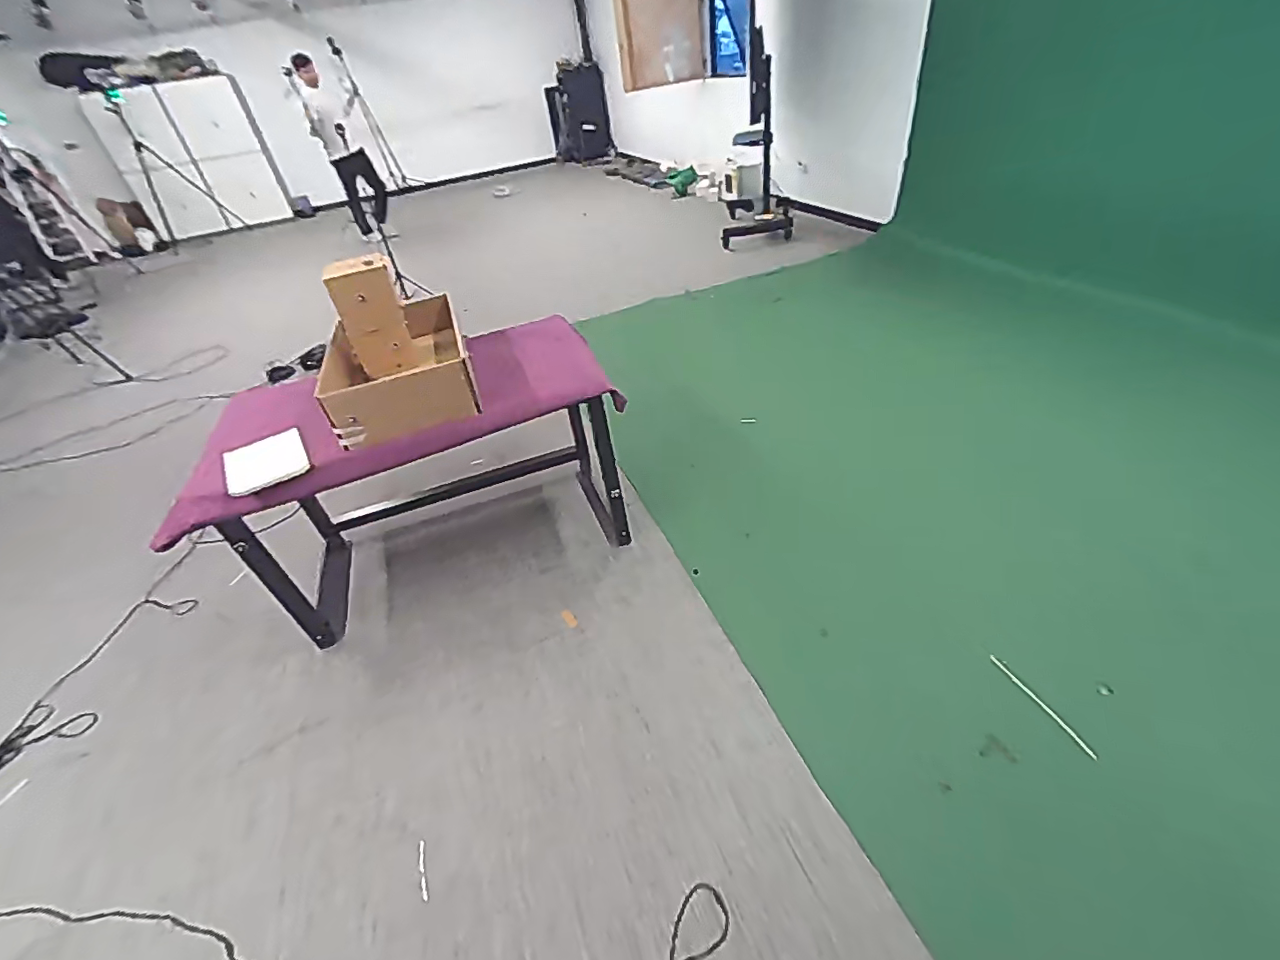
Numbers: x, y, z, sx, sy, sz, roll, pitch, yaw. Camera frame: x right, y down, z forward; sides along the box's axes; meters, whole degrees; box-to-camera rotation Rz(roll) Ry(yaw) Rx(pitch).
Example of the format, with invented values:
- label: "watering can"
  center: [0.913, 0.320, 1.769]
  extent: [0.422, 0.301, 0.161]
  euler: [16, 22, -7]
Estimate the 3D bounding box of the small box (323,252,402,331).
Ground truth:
- label: "small box"
  center: [-0.857, -0.588, 1.686]
  extent: [0.179, 0.176, 0.168]
  euler: [-20, 41, -13]
